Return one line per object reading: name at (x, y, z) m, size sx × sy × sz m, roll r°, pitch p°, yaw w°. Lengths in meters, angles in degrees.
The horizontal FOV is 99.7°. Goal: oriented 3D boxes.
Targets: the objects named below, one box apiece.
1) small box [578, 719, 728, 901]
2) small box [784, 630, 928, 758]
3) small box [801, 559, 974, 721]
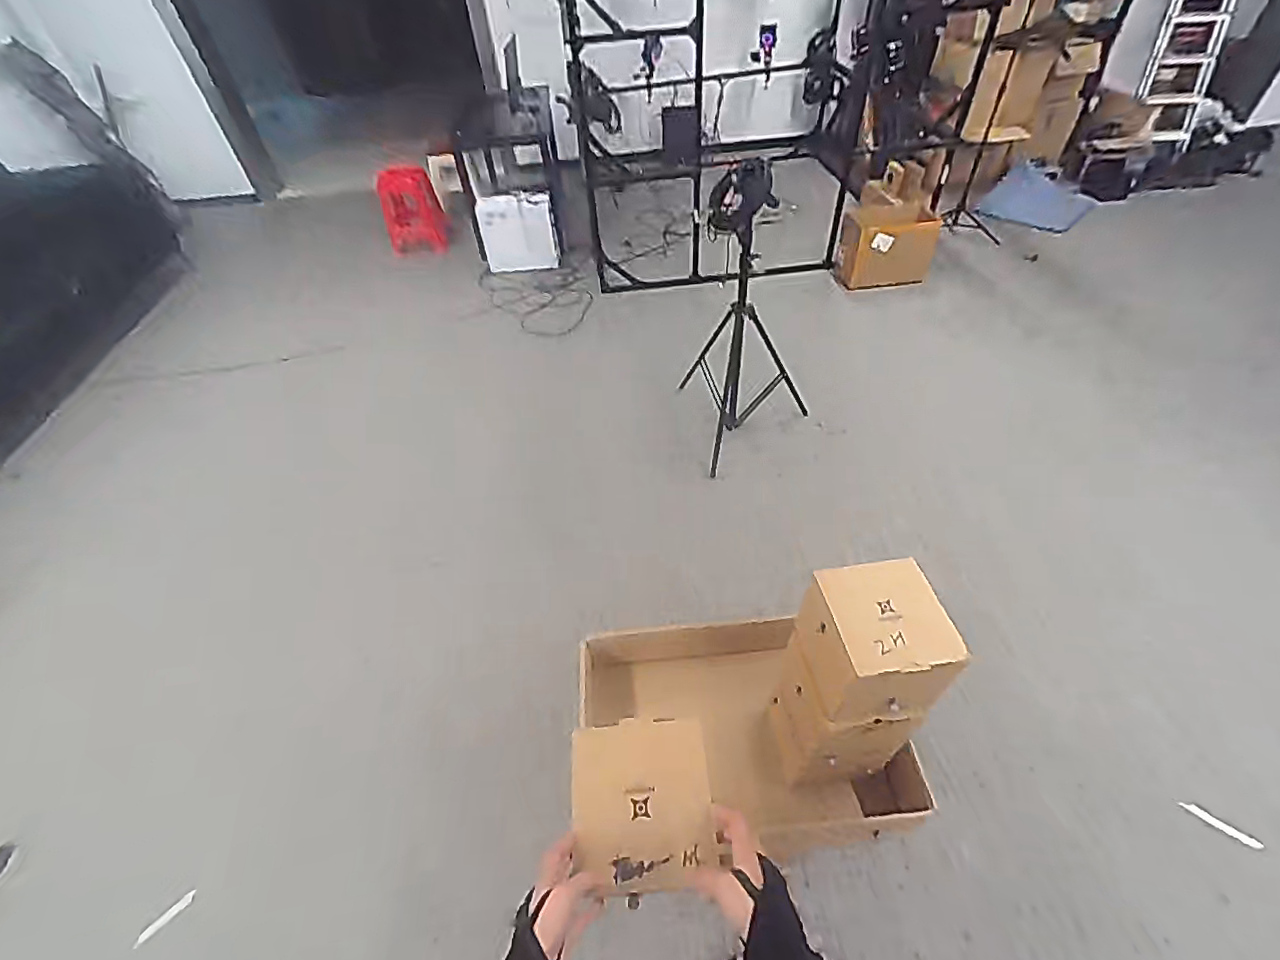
small box at (0.015, 0.426, 0.696) m, size 0.168 × 0.176 × 0.179 m, roll -6°, pitch 52°, yaw 1°
small box at (0.366, 0.372, 0.952) m, size 0.168 × 0.176 × 0.179 m, roll -7°, pitch 46°, yaw -3°
small box at (0.365, 0.249, 0.842) m, size 0.168 × 0.176 × 0.179 m, roll -7°, pitch 47°, yaw -3°
